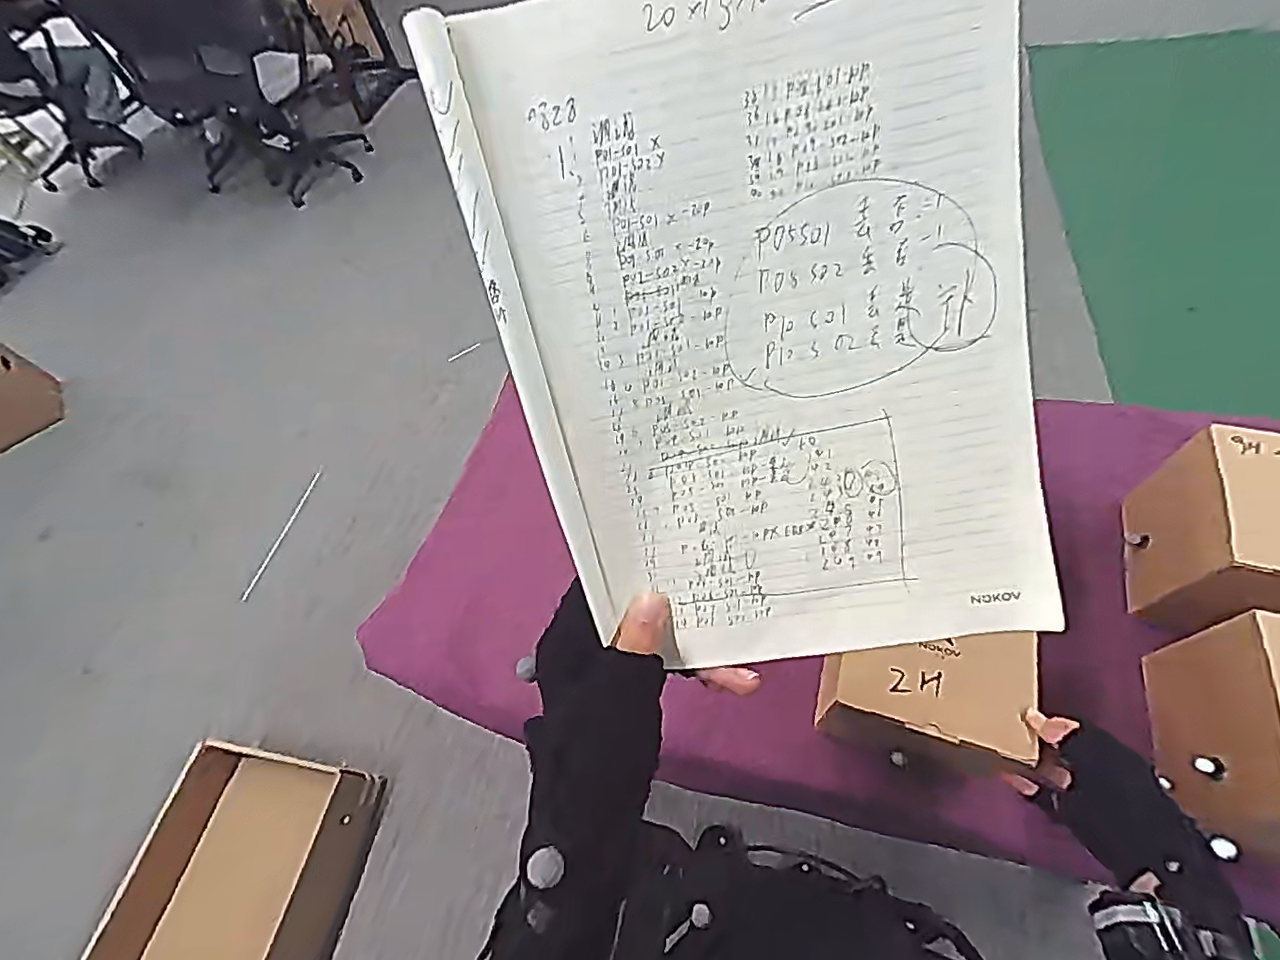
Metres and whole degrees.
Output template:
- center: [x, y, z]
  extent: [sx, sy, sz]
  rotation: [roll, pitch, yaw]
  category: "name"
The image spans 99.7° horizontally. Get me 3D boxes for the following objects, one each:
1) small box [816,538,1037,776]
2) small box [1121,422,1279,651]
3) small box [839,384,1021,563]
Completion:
- center: [0.294, 0.192, 0.580]
  extent: [0.168, 0.176, 0.179]
  rotation: [13, 60, 17]
  category: "small box"
- center: [0.674, 0.068, 0.593]
  extent: [0.168, 0.176, 0.179]
  rotation: [14, 62, 18]
  category: "small box"
- center: [0.355, 0.003, 0.693]
  extent: [0.168, 0.176, 0.179]
  rotation: [7, 59, 14]
  category: "small box"
